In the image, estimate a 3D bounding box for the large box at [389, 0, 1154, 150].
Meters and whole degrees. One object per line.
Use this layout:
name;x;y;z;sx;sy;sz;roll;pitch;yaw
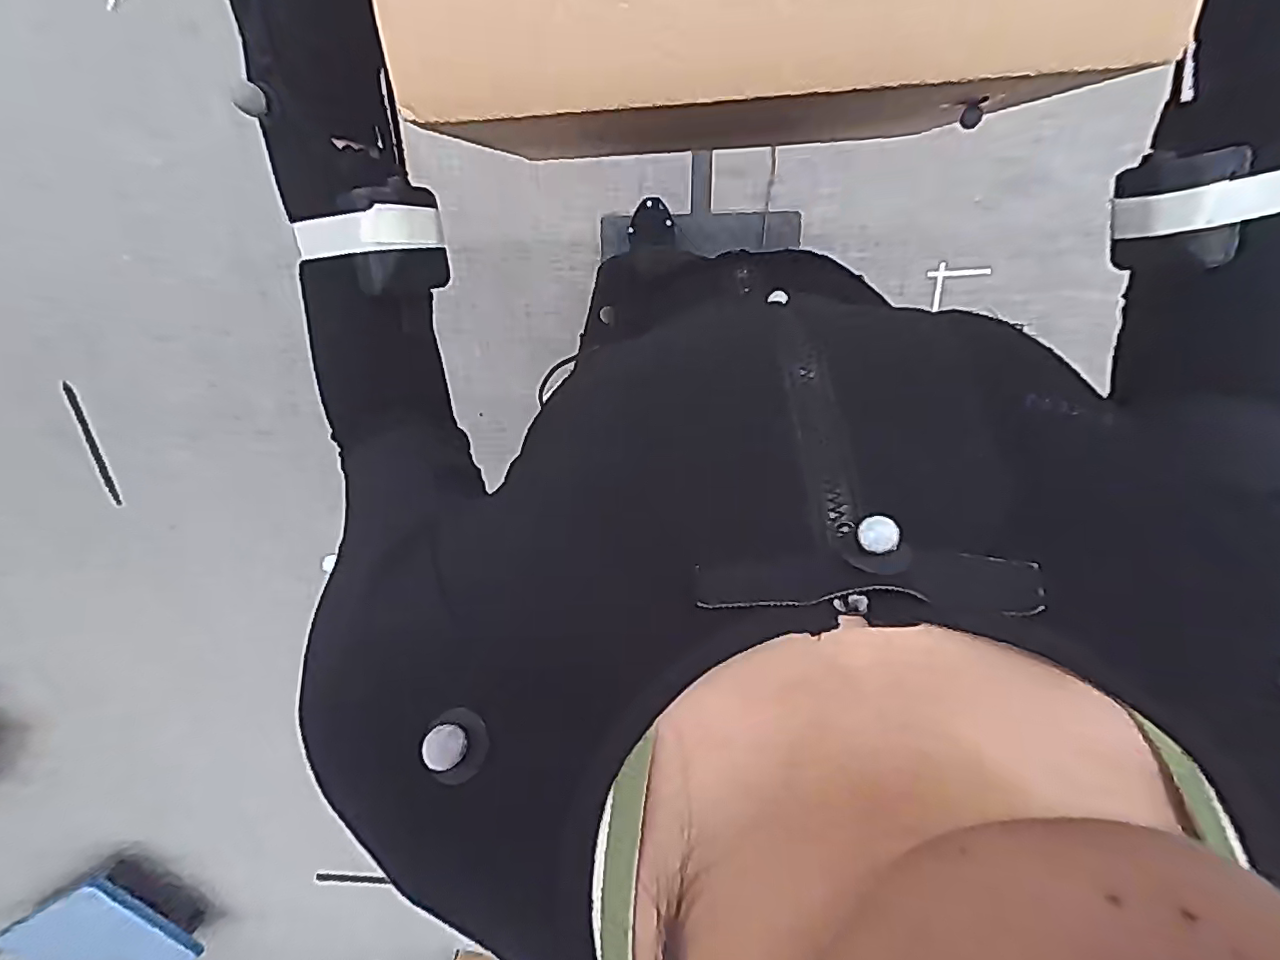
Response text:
large box;0.064;-0.421;0.359;0.408;0.320;0.320;-2;117;4

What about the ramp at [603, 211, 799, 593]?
ramp;0.151;-0.171;1.441;0.509;0.206;0.991;-1;112;5
